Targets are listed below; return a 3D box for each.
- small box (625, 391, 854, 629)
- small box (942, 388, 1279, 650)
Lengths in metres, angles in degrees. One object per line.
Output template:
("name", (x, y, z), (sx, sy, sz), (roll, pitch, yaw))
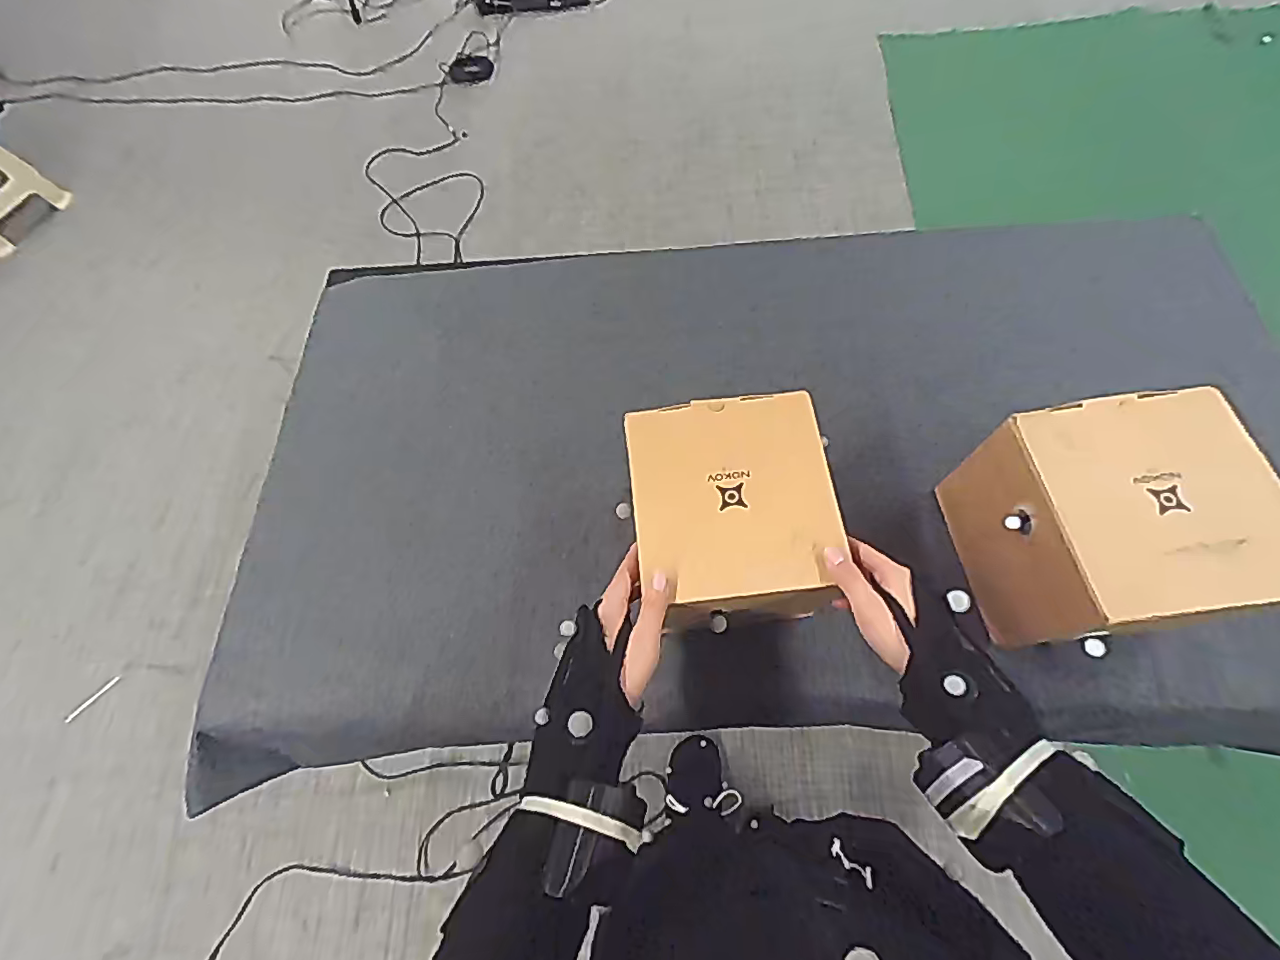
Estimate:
("small box", (0.082, 0.041, 0.515), (0.168, 0.176, 0.179), (-7, 66, 2))
("small box", (0.407, 0.045, 0.486), (0.168, 0.176, 0.179), (-9, 66, 2))
